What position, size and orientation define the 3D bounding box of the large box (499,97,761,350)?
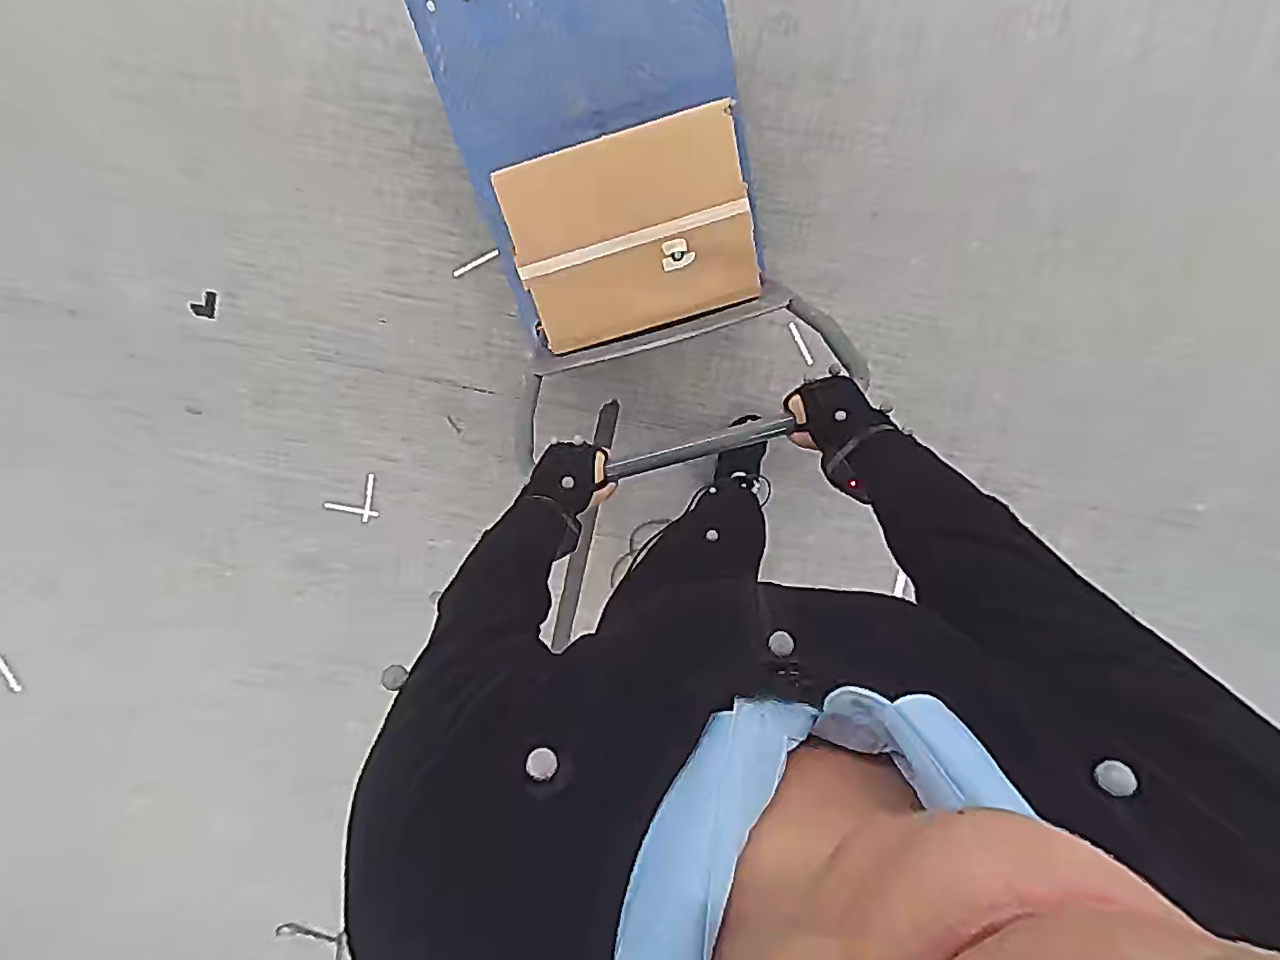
[{"bbox_3d":[-0.018,-0.497,1.083,0.408,0.320,0.320,-16,118,3],"label":"large box"}]
